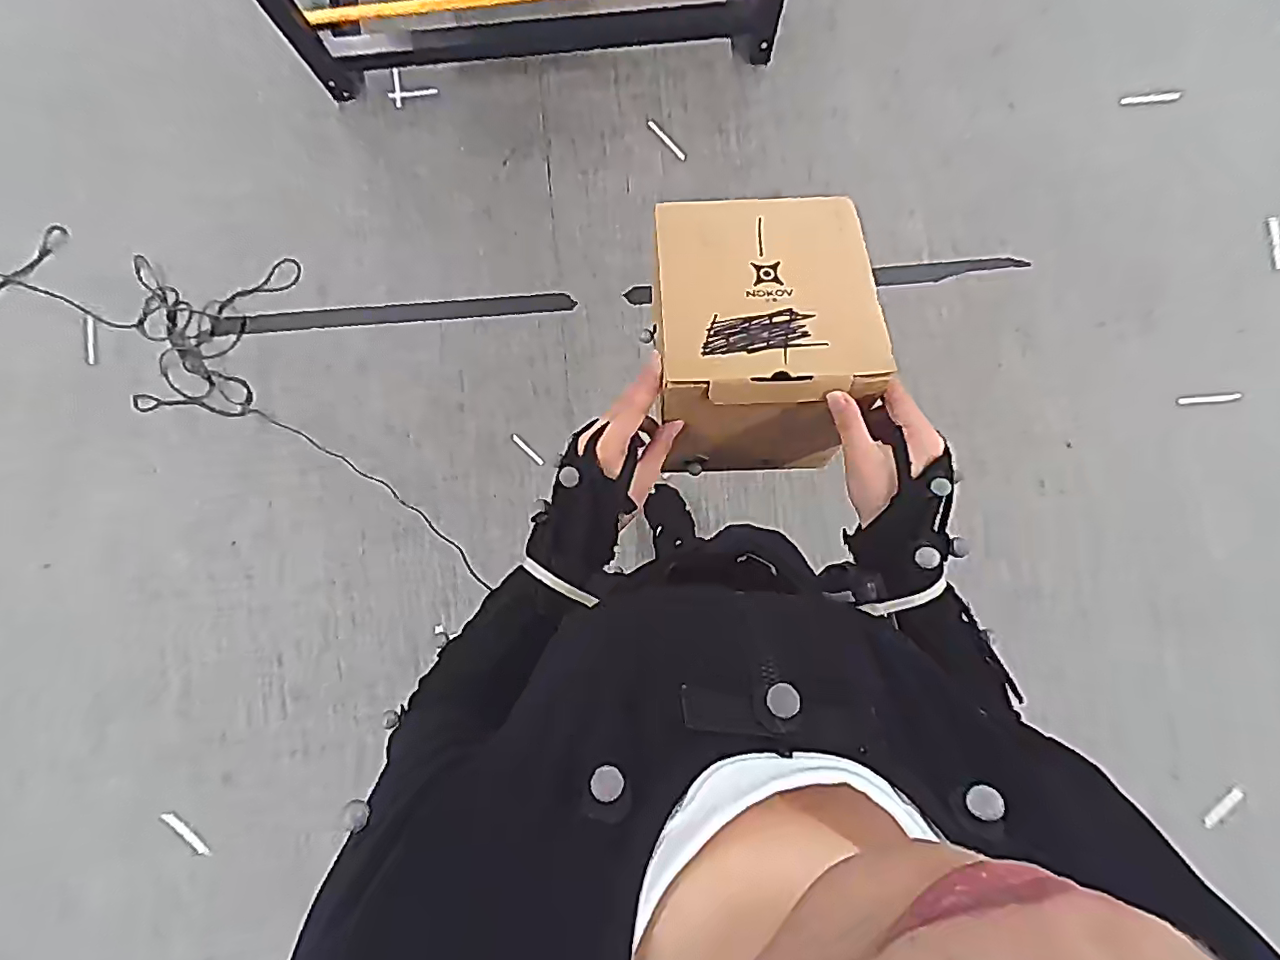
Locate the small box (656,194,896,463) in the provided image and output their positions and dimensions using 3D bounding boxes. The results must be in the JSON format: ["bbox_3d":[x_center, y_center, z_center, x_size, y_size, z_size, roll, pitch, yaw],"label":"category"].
[{"bbox_3d":[0.100,-0.121,0.486,0.168,0.176,0.179,-2,68,0],"label":"small box"}]
